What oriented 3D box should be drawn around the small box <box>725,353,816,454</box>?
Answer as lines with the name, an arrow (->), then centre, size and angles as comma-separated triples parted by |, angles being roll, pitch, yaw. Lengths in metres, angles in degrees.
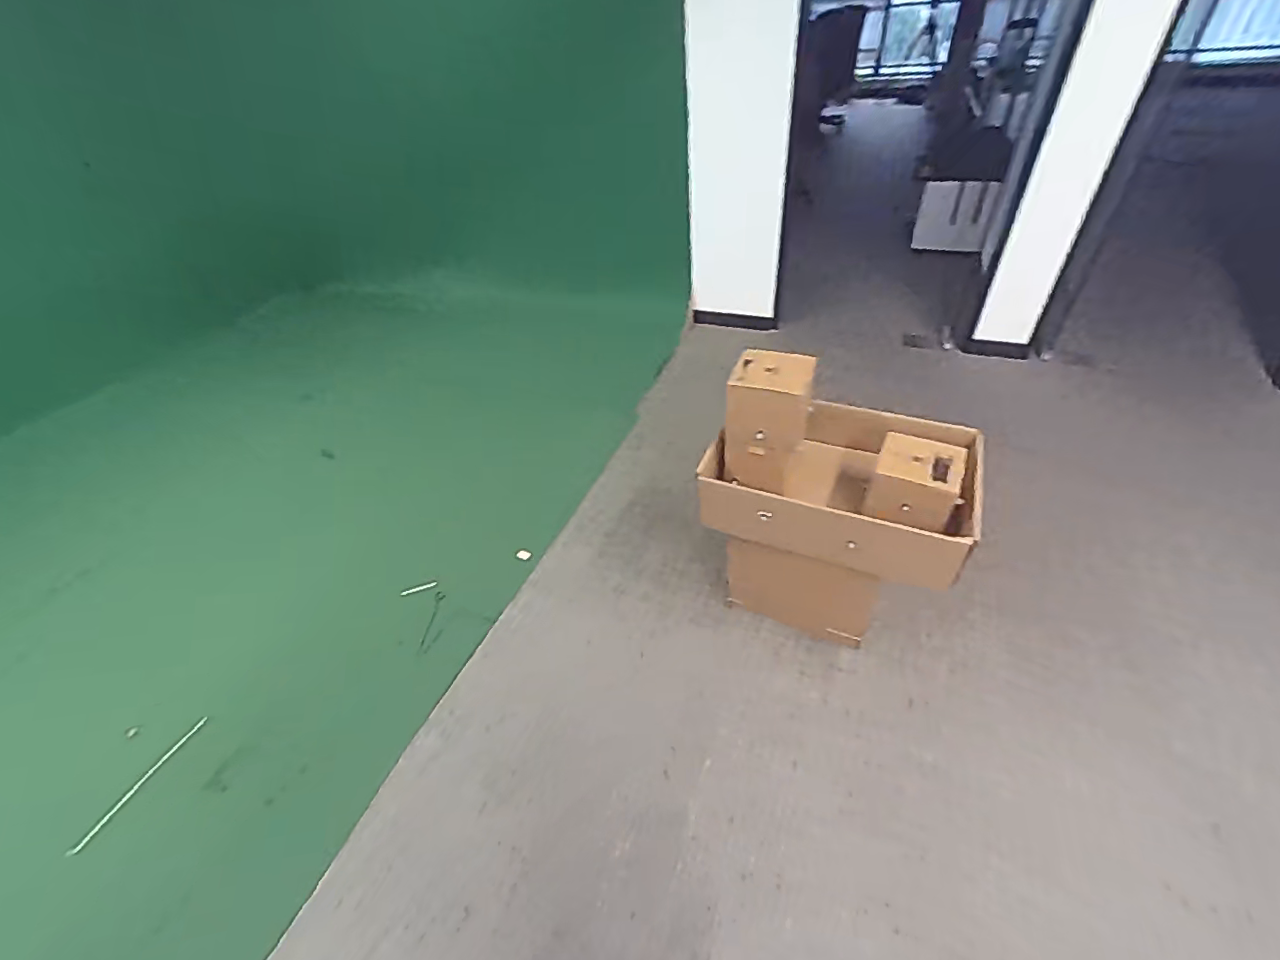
small box -> 0.315, -0.184, 1.316 | 0.179, 0.176, 0.168 | 13, 46, 20
